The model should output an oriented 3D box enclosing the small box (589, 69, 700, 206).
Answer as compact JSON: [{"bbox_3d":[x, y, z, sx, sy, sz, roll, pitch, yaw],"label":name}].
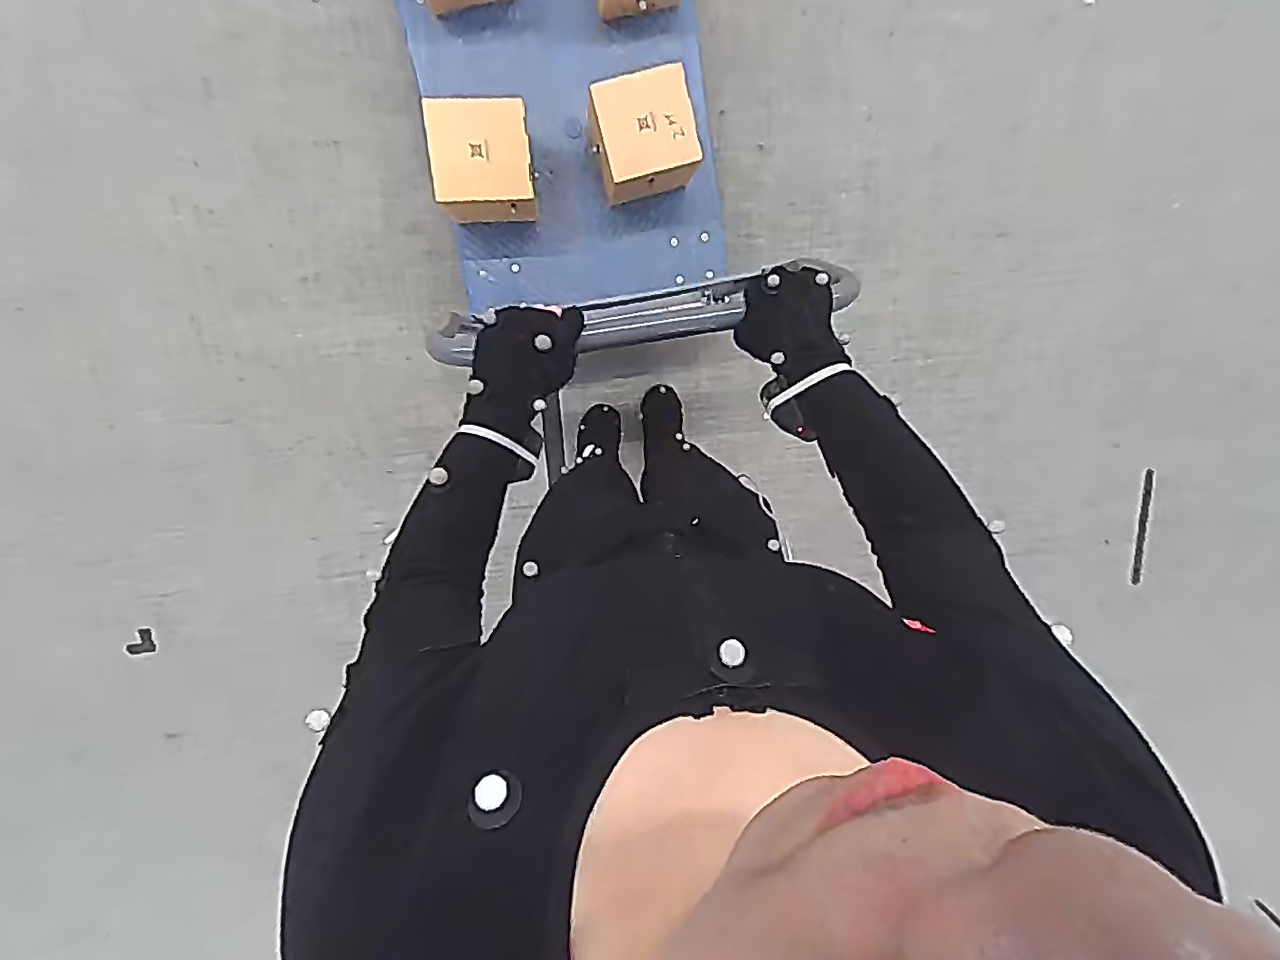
[{"bbox_3d":[0.003,-0.663,1.068,0.179,0.176,0.168,-16,105,-3],"label":"small box"}]

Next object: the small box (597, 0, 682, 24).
[{"bbox_3d":[-0.005,-0.990,0.988,0.168,0.176,0.179,-14,106,-4],"label":"small box"}]

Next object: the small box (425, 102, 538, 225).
[{"bbox_3d":[-0.297,-0.601,1.045,0.179,0.176,0.168,-6,104,-8],"label":"small box"}]
